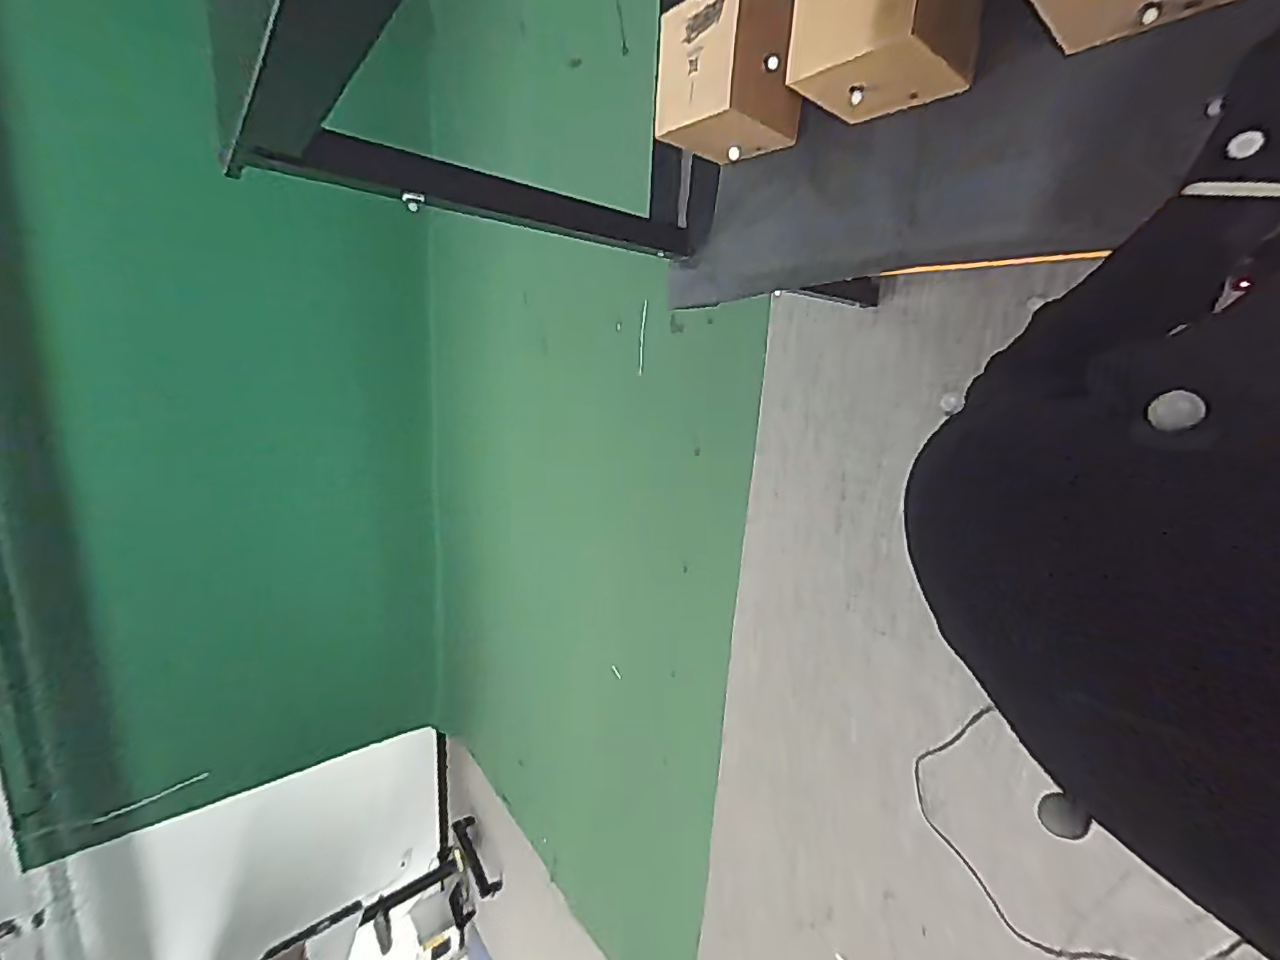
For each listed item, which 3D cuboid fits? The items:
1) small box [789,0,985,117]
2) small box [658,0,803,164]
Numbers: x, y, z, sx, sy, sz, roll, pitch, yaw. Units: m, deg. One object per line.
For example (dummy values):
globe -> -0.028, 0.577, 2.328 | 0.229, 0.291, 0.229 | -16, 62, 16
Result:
small box -> 0.313, -0.588, 0.678 | 0.168, 0.176, 0.179 | 18, 108, 48
small box -> 0.150, -0.638, 0.864 | 0.168, 0.176, 0.179 | 19, 110, 48
